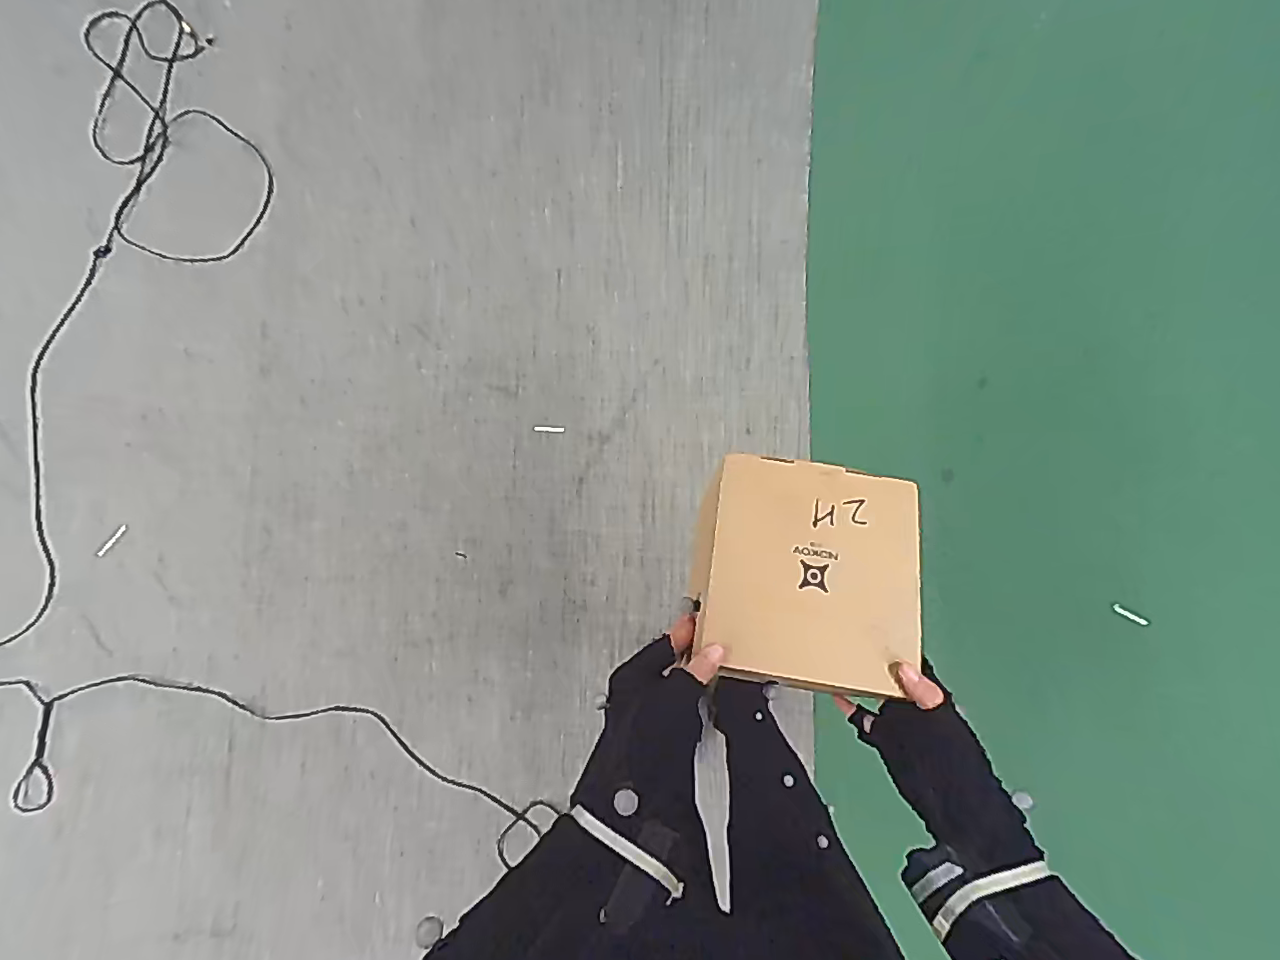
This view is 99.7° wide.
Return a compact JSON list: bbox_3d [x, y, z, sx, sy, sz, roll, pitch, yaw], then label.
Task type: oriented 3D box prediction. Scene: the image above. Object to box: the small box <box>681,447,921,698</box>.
[{"bbox_3d":[0.135,0.092,0.499,0.168,0.176,0.179,10,69,1],"label":"small box"}]
